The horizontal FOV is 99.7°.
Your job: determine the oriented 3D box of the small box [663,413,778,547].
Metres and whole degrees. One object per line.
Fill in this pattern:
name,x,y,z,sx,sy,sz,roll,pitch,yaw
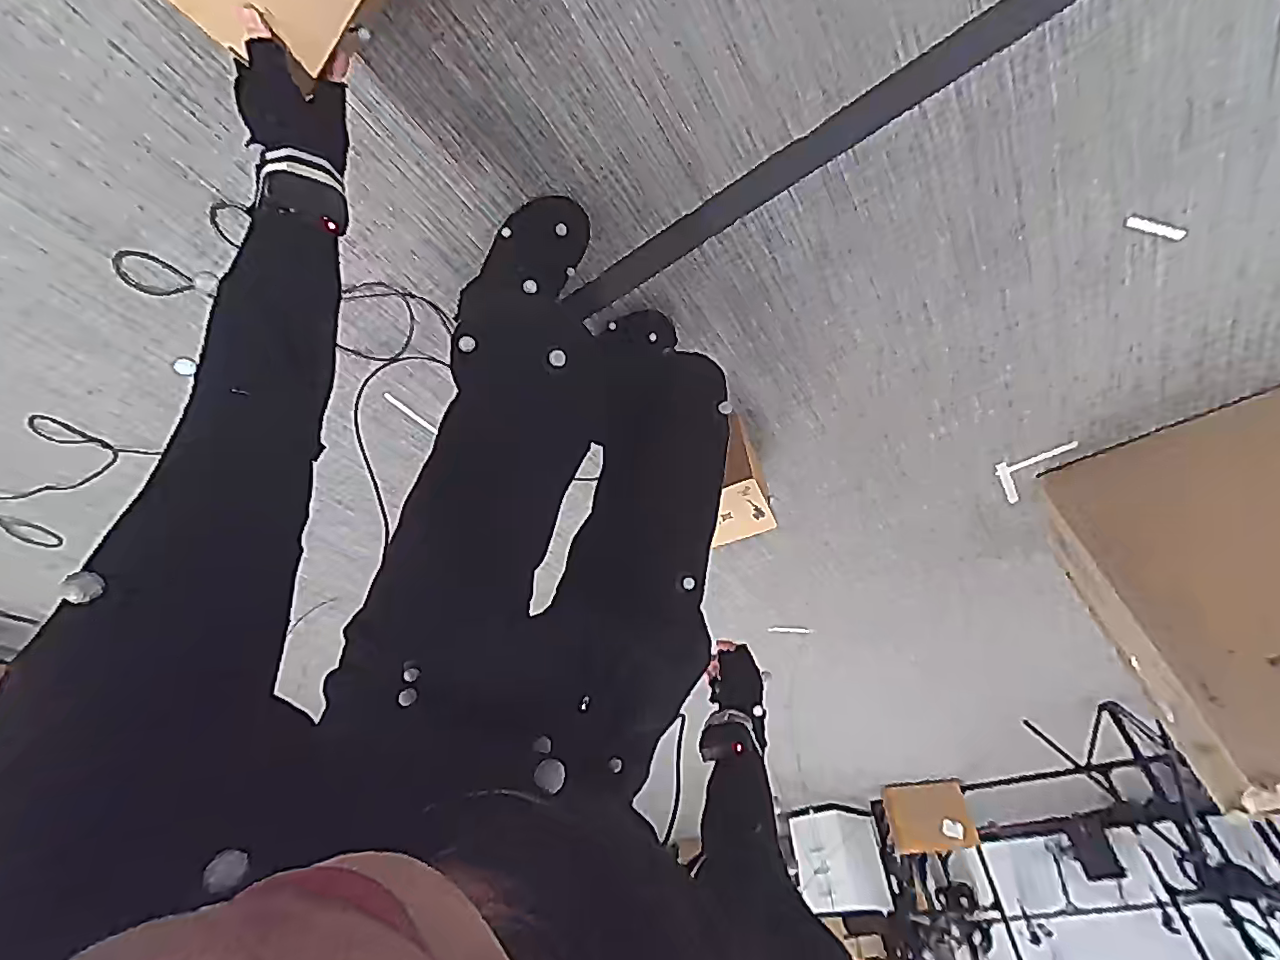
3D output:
small box,0.153,0.001,1.054,0.179,0.176,0.168,-19,137,18

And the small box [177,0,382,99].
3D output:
small box,-0.307,-0.486,0.459,0.179,0.176,0.168,-27,135,33
